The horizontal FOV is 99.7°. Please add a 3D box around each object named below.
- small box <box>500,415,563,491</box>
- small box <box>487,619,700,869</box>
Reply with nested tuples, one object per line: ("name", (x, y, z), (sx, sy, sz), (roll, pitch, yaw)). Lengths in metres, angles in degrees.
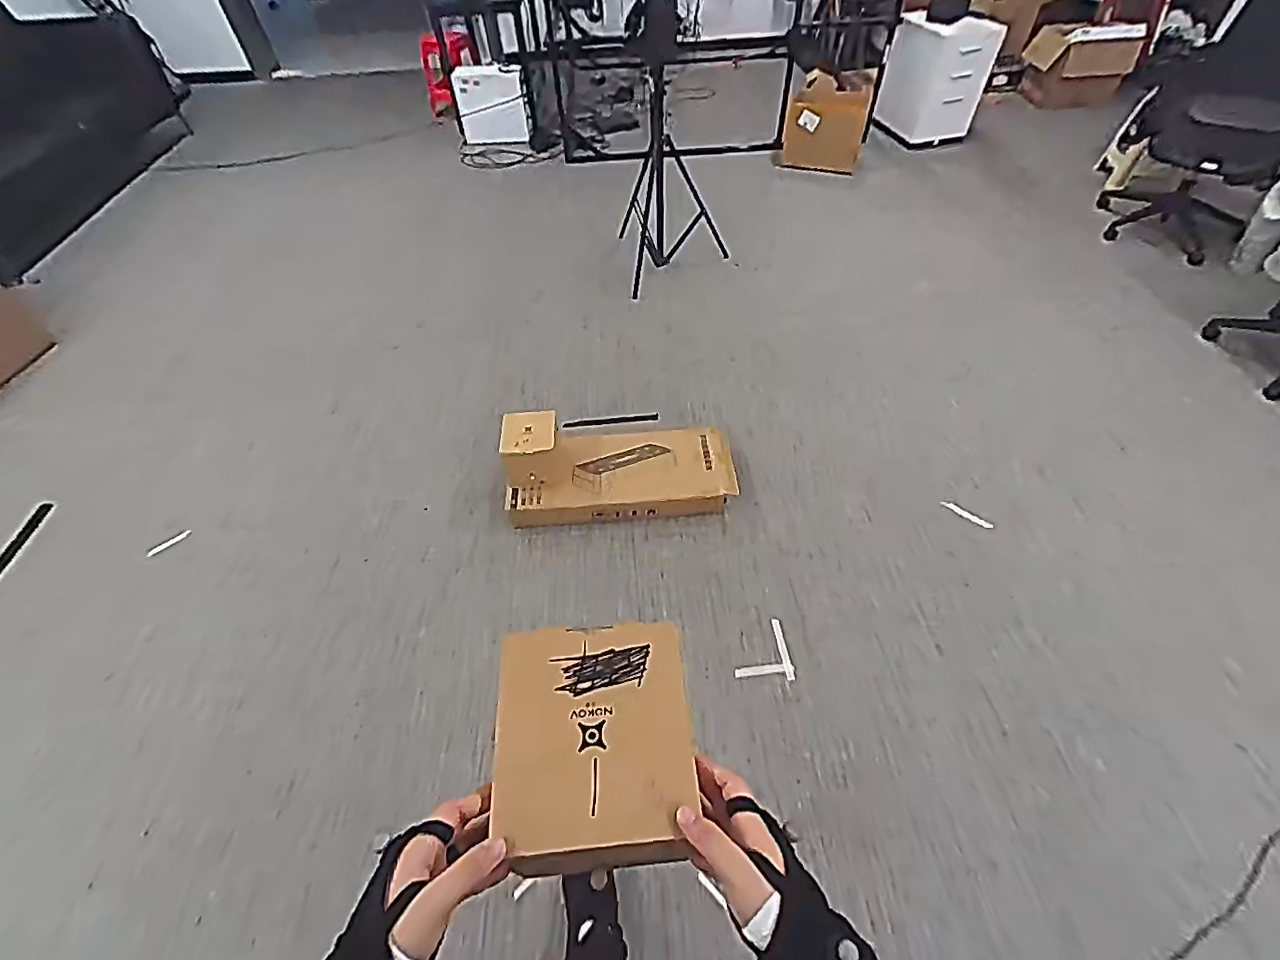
("small box", (-0.342, -0.086, 1.728), (0.168, 0.176, 0.179), (-5, 50, -2))
("small box", (-0.042, 0.257, 0.525), (0.168, 0.176, 0.179), (-4, 50, -3))
